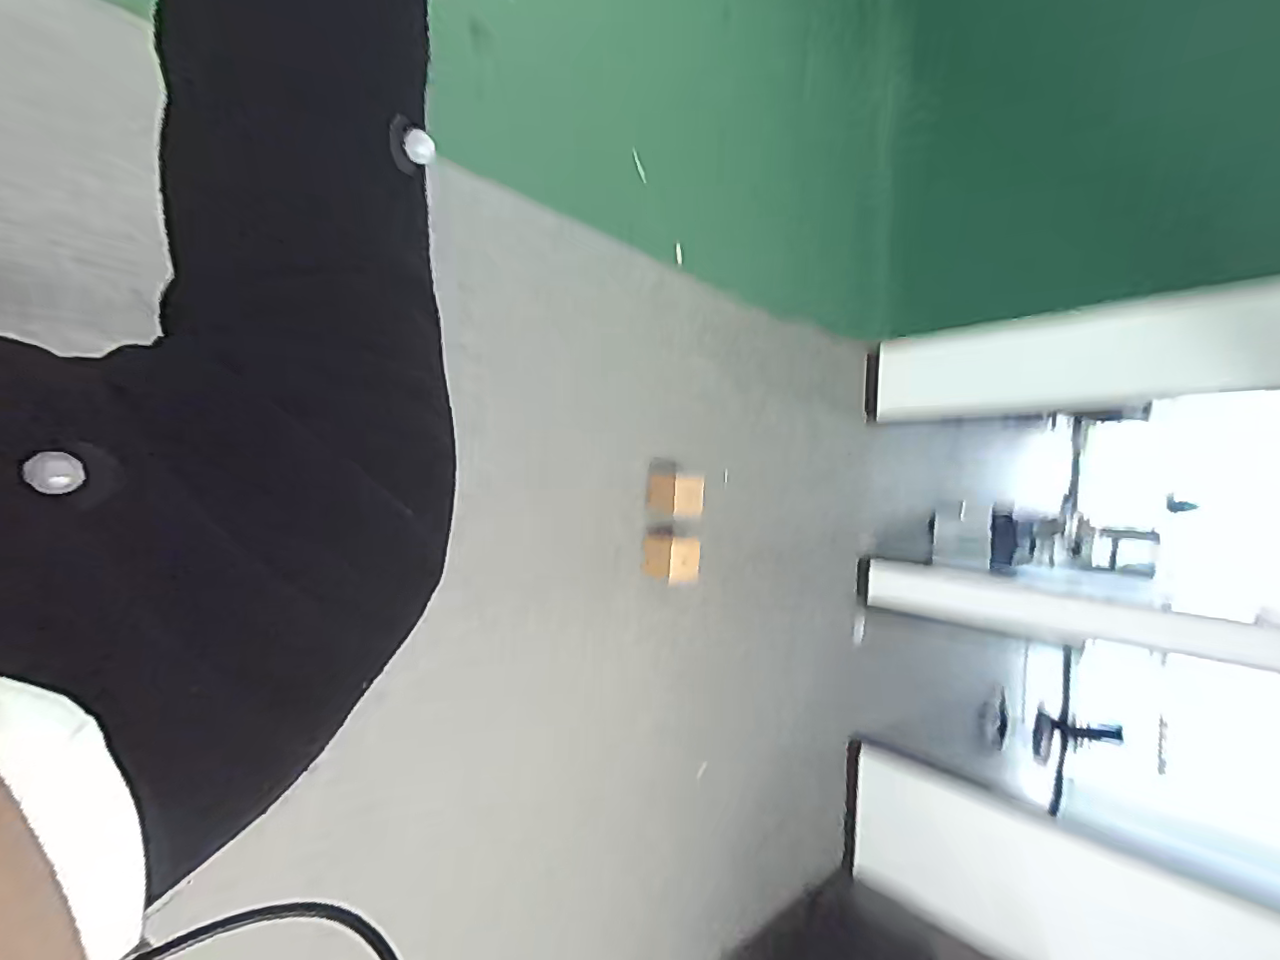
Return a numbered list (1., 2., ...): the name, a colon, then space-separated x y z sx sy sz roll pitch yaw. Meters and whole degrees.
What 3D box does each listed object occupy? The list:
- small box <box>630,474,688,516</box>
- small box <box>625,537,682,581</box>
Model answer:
1. small box: 0.077 0.063 2.275 0.179 0.176 0.168 6 89 -44
2. small box: 0.055 0.330 2.275 0.179 0.176 0.168 6 88 -44
